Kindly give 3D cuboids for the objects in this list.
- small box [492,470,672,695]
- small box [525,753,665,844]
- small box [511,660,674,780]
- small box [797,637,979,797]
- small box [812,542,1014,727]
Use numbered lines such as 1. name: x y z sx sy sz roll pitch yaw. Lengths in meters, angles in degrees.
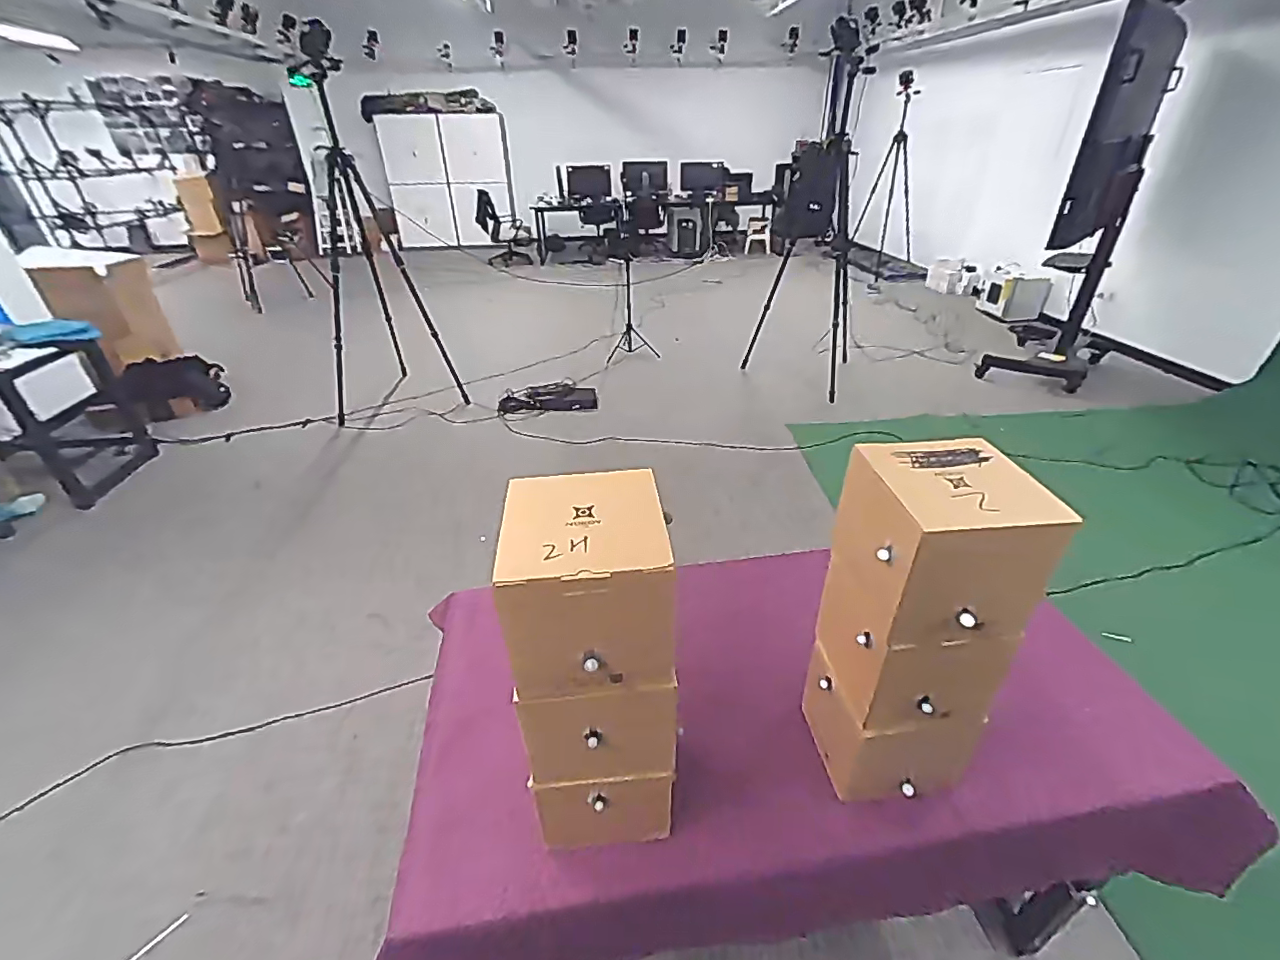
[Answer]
1. small box: -0.059 0.108 0.601 0.168 0.176 0.179 -5 34 -5
2. small box: -0.058 0.390 0.770 0.179 0.176 0.168 -3 33 -4
3. small box: -0.055 0.251 0.685 0.179 0.176 0.168 -5 33 -4
4. small box: 0.358 0.350 0.819 0.179 0.176 0.168 -4 32 -5
5. small box: 0.352 0.207 0.741 0.168 0.176 0.179 -4 34 -4
